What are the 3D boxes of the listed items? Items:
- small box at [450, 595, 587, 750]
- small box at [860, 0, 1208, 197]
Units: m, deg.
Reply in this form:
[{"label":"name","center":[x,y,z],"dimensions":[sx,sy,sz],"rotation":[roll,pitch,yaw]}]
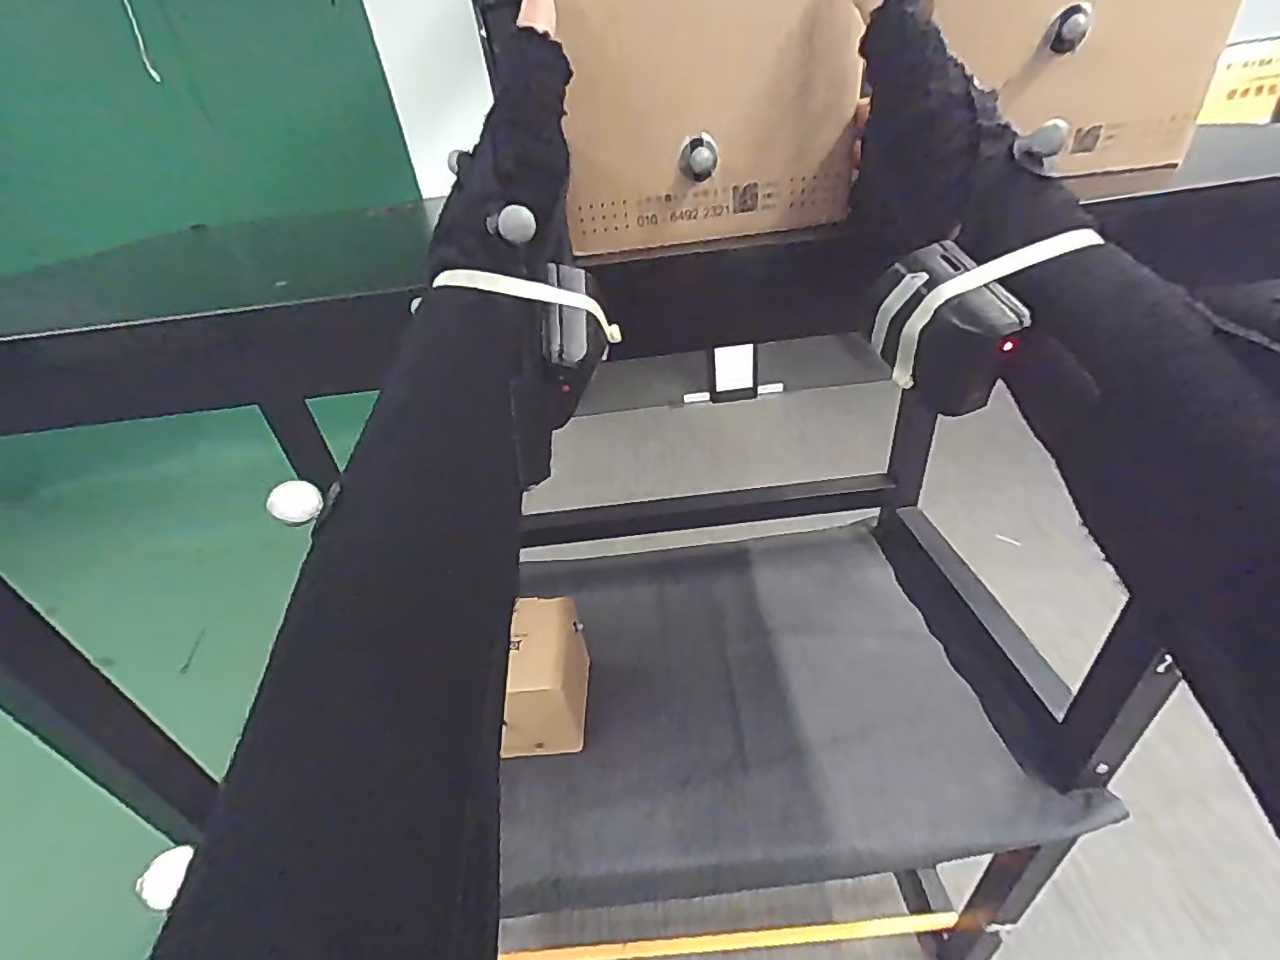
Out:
[{"label":"small box","center":[-0.182,0.314,0.873],"dimensions":[0.168,0.176,0.179],"rotation":[-5,33,2]},{"label":"small box","center":[0.268,-0.314,0.397],"dimensions":[0.168,0.176,0.179],"rotation":[0,34,11]}]
